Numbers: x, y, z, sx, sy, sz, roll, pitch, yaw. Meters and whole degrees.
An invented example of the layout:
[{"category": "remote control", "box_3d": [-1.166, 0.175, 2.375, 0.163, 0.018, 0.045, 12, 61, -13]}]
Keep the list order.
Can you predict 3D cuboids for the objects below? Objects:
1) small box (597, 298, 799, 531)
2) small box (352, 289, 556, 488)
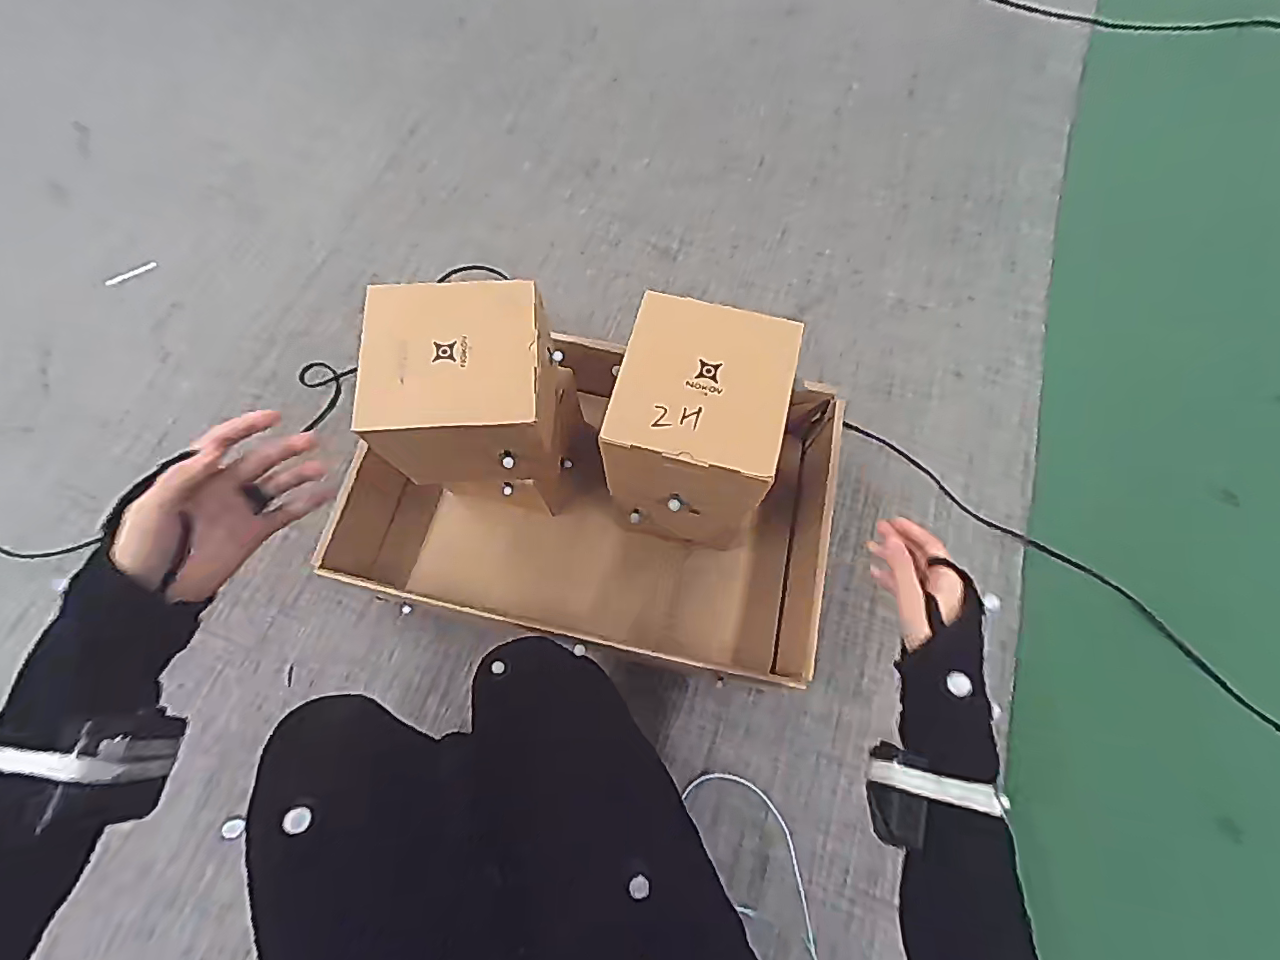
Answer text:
[{"category": "small box", "box_3d": [0.059, -0.062, 0.595, 0.168, 0.176, 0.179, 14, 71, 6]}, {"category": "small box", "box_3d": [-0.190, -0.093, 0.612, 0.179, 0.176, 0.168, -3, 71, -1]}]
